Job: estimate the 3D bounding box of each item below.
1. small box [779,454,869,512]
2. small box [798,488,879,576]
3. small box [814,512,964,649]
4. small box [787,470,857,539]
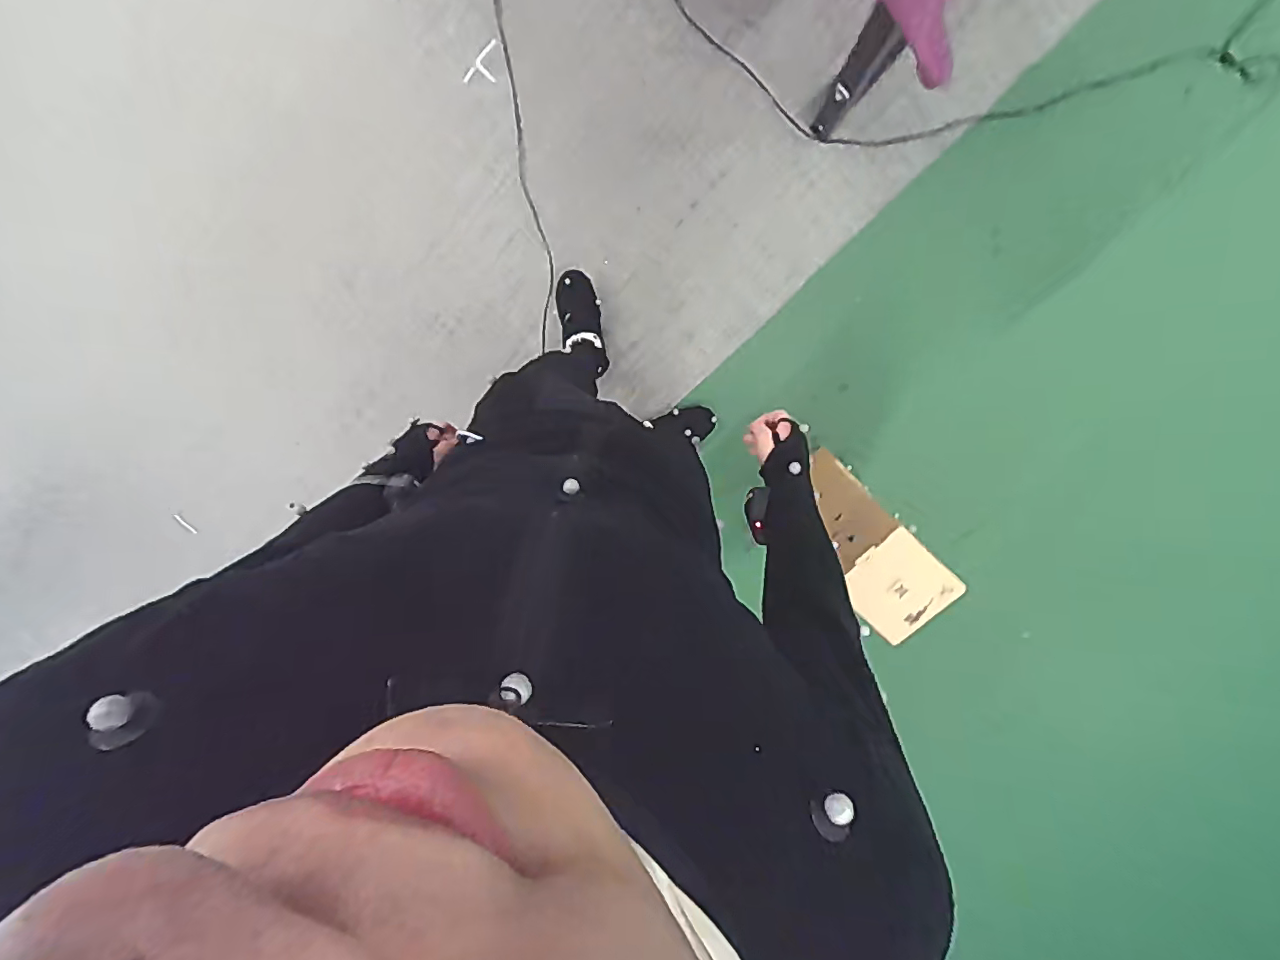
[{"bbox_3d":[0.509,0.053,1.513,0.179,0.176,0.168,-43,97,14],"label":"small box"},{"bbox_3d":[0.476,0.143,1.202,0.168,0.176,0.179,41,106,-5],"label":"small box"},{"bbox_3d":[0.464,0.181,1.042,0.179,0.176,0.168,44,105,-5],"label":"small box"},{"bbox_3d":[0.489,0.101,1.360,0.168,0.176,0.179,43,104,-6],"label":"small box"}]
